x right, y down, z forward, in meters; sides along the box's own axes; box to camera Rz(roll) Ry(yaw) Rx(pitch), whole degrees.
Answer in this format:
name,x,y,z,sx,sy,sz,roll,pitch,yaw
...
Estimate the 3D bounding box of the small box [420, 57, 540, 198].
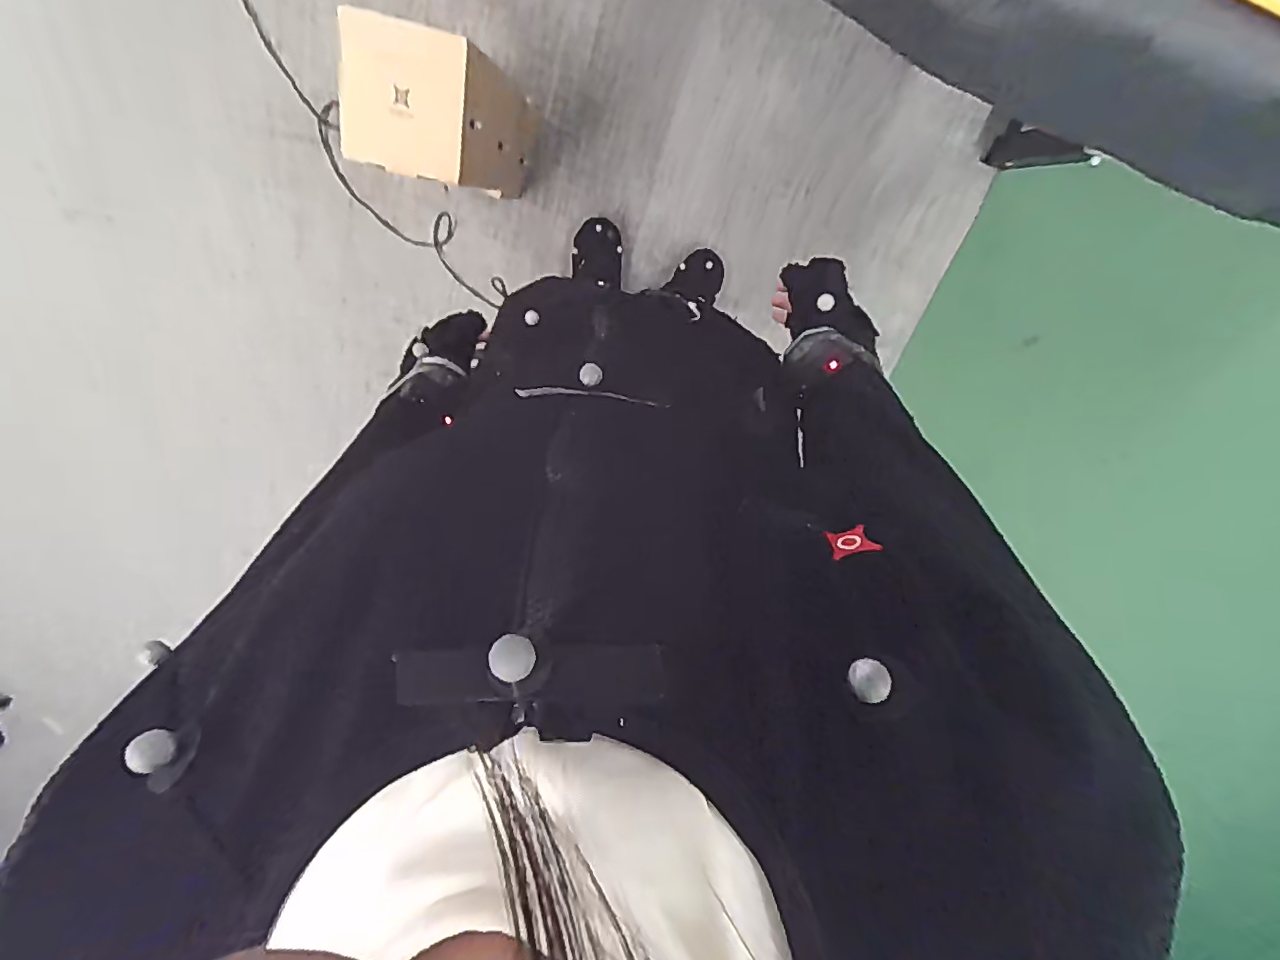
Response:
name,x,y,z,sx,sy,sz,roll,pitch,yaw
small box,-0.311,-0.693,1.083,0.168,0.176,0.179,23,116,-10
